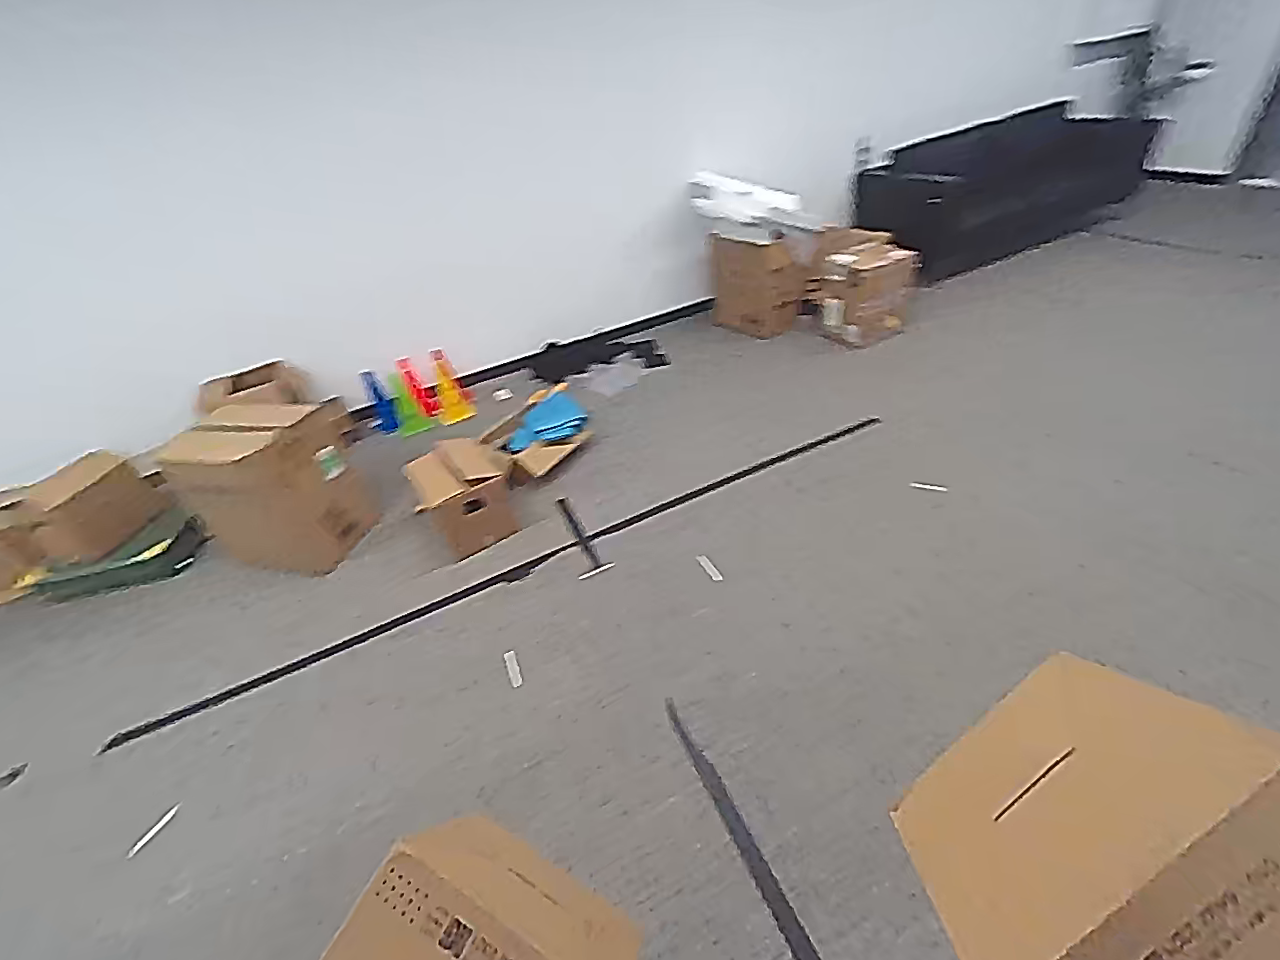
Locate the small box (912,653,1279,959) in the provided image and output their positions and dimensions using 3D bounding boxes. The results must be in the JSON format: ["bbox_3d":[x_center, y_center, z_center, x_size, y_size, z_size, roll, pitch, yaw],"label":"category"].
[{"bbox_3d":[0.272,0.216,0.268,0.168,0.179,0.176,-44,78,6],"label":"small box"}]
